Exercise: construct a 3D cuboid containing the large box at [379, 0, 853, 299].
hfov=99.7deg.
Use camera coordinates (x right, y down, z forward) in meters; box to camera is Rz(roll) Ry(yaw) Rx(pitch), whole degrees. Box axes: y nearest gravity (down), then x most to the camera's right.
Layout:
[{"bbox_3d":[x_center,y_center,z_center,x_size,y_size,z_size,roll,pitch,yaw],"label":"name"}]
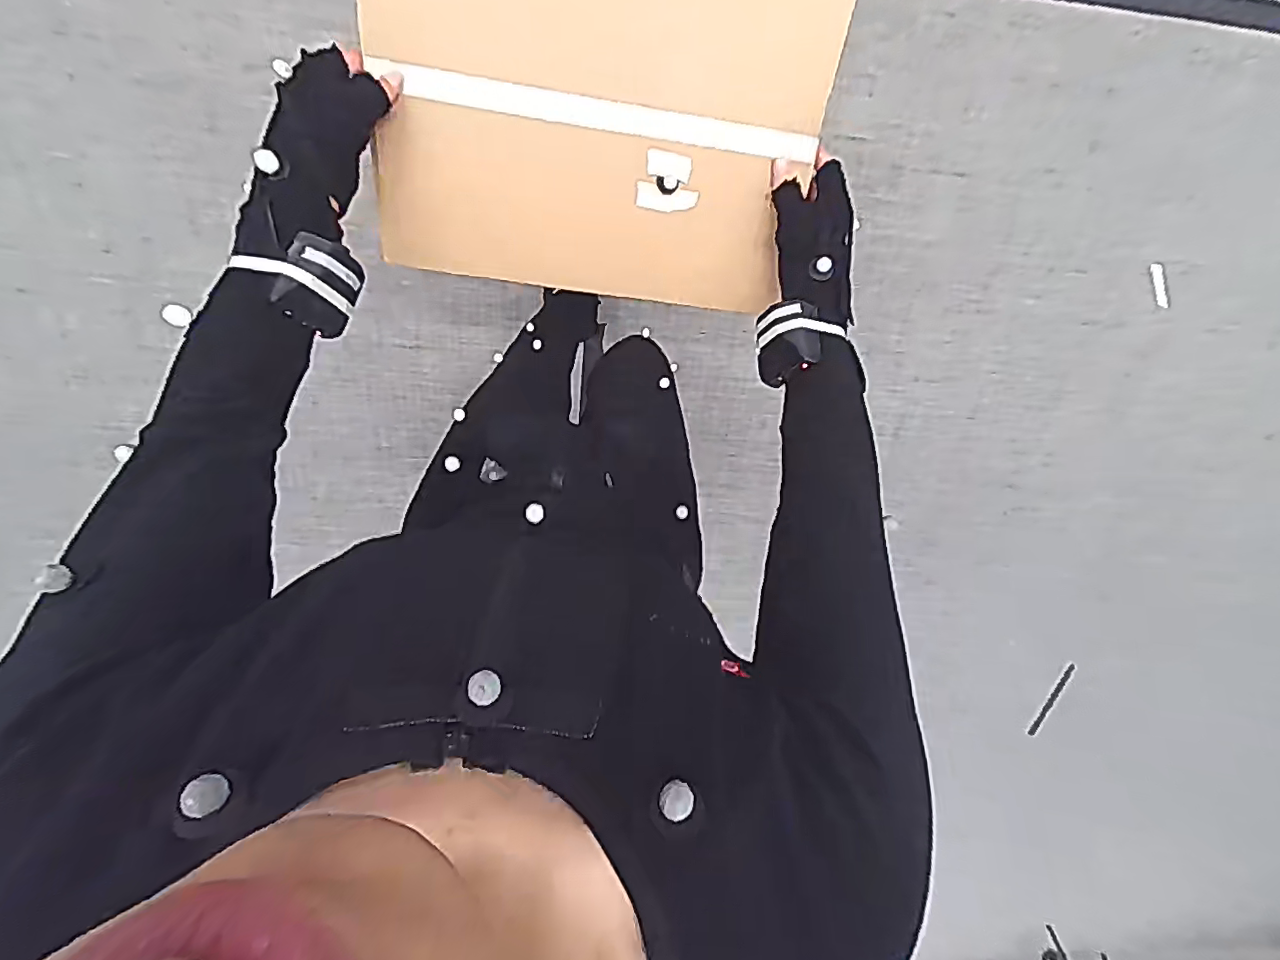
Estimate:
[{"bbox_3d":[-0.038,-0.417,0.618,0.408,0.320,0.320,4,121,-8],"label":"large box"}]
